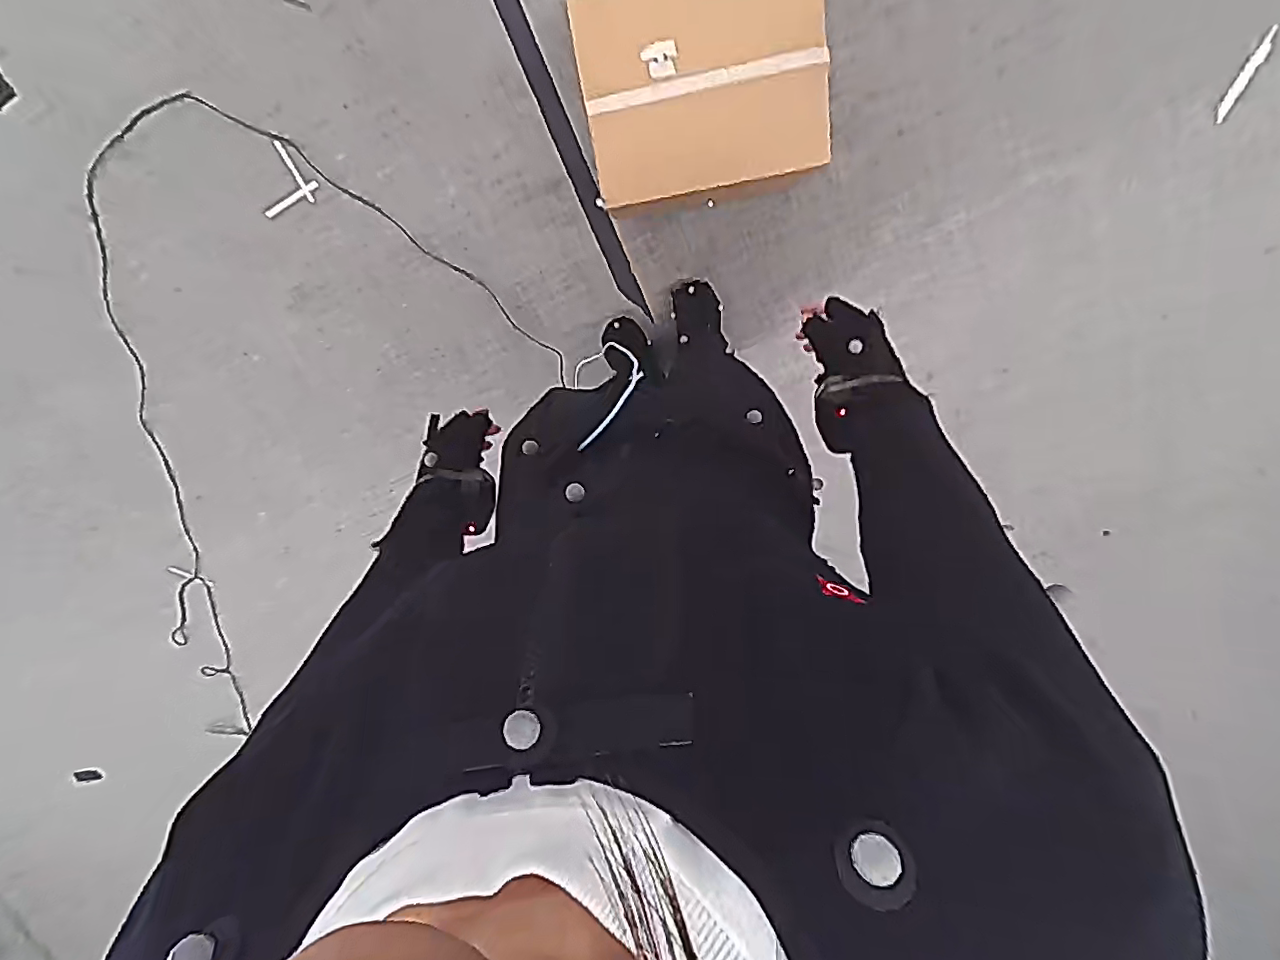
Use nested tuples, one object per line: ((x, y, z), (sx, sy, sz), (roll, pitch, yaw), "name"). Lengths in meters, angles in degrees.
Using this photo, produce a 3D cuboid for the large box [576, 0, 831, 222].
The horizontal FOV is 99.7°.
((0.125, -0.720, 1.060), (0.408, 0.320, 0.320), (-8, 110, 8), "large box")
